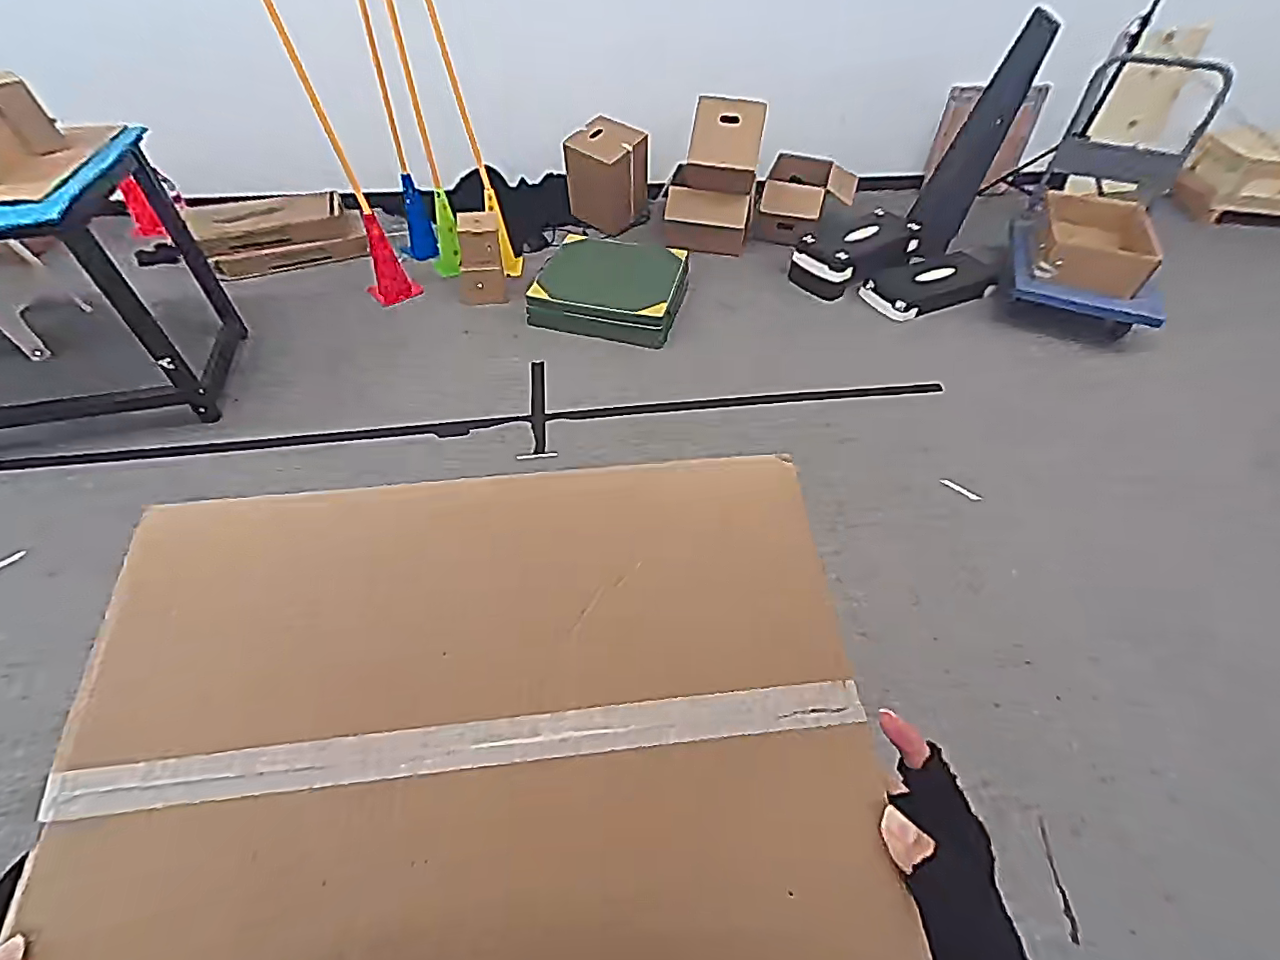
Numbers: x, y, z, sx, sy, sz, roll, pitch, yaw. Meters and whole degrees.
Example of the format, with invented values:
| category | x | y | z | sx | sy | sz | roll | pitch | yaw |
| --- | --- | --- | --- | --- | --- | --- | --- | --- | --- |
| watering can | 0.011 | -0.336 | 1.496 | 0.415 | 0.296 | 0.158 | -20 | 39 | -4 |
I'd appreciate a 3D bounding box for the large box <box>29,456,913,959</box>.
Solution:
| category | x | y | z | sx | sy | sz | roll | pitch | yaw |
| --- | --- | --- | --- | --- | --- | --- | --- | --- | --- |
| large box | -0.089 | 0.206 | 0.422 | 0.408 | 0.320 | 0.320 | -5 | 63 | -4 |
